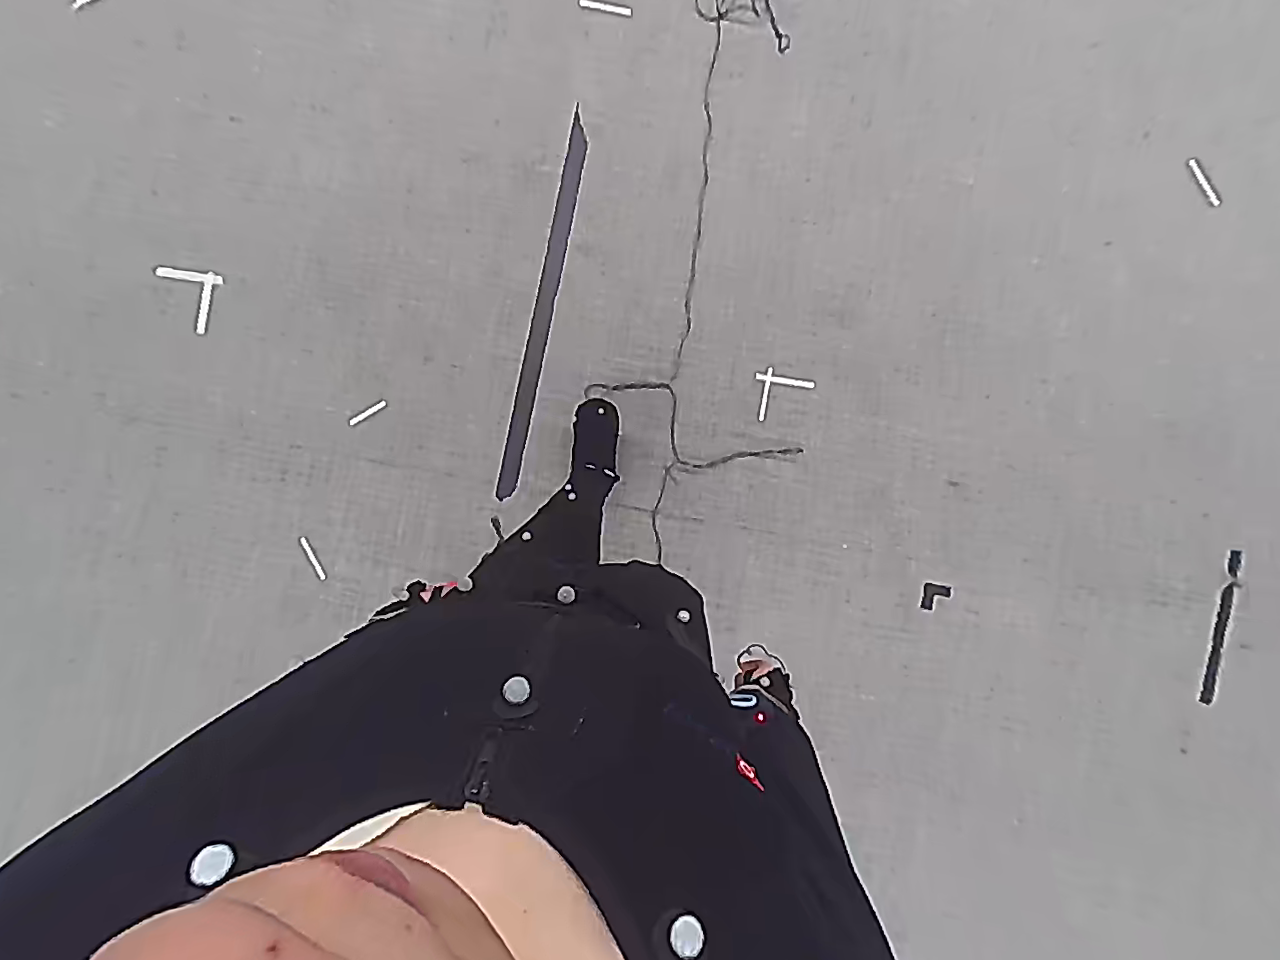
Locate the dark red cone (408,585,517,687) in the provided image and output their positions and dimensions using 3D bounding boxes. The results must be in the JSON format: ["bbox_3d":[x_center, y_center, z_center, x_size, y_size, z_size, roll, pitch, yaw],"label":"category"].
[{"bbox_3d":[-0.409,0.363,1.168,0.201,0.394,0.202,10,88,-1],"label":"dark red cone"}]
